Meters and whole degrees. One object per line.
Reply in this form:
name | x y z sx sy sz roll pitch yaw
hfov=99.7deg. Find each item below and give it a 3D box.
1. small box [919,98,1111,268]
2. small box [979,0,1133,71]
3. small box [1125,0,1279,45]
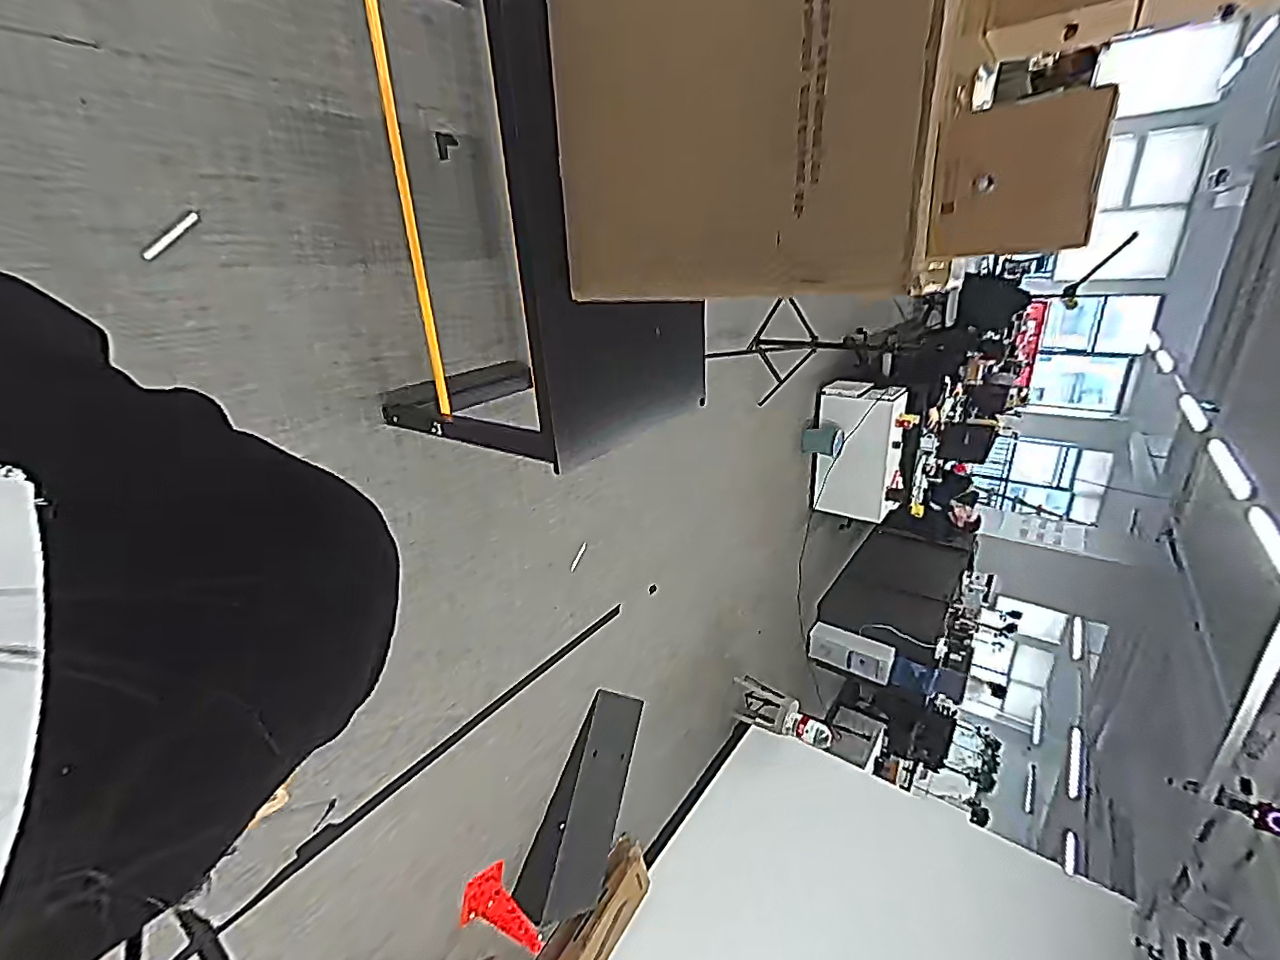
small box | 0.486 -0.375 0.709 0.179 0.176 0.168 -30 123 -45
small box | 0.577 -0.685 0.733 0.179 0.176 0.168 -28 124 -47
small box | 0.699 -0.644 0.630 0.179 0.176 0.168 -26 121 -48
